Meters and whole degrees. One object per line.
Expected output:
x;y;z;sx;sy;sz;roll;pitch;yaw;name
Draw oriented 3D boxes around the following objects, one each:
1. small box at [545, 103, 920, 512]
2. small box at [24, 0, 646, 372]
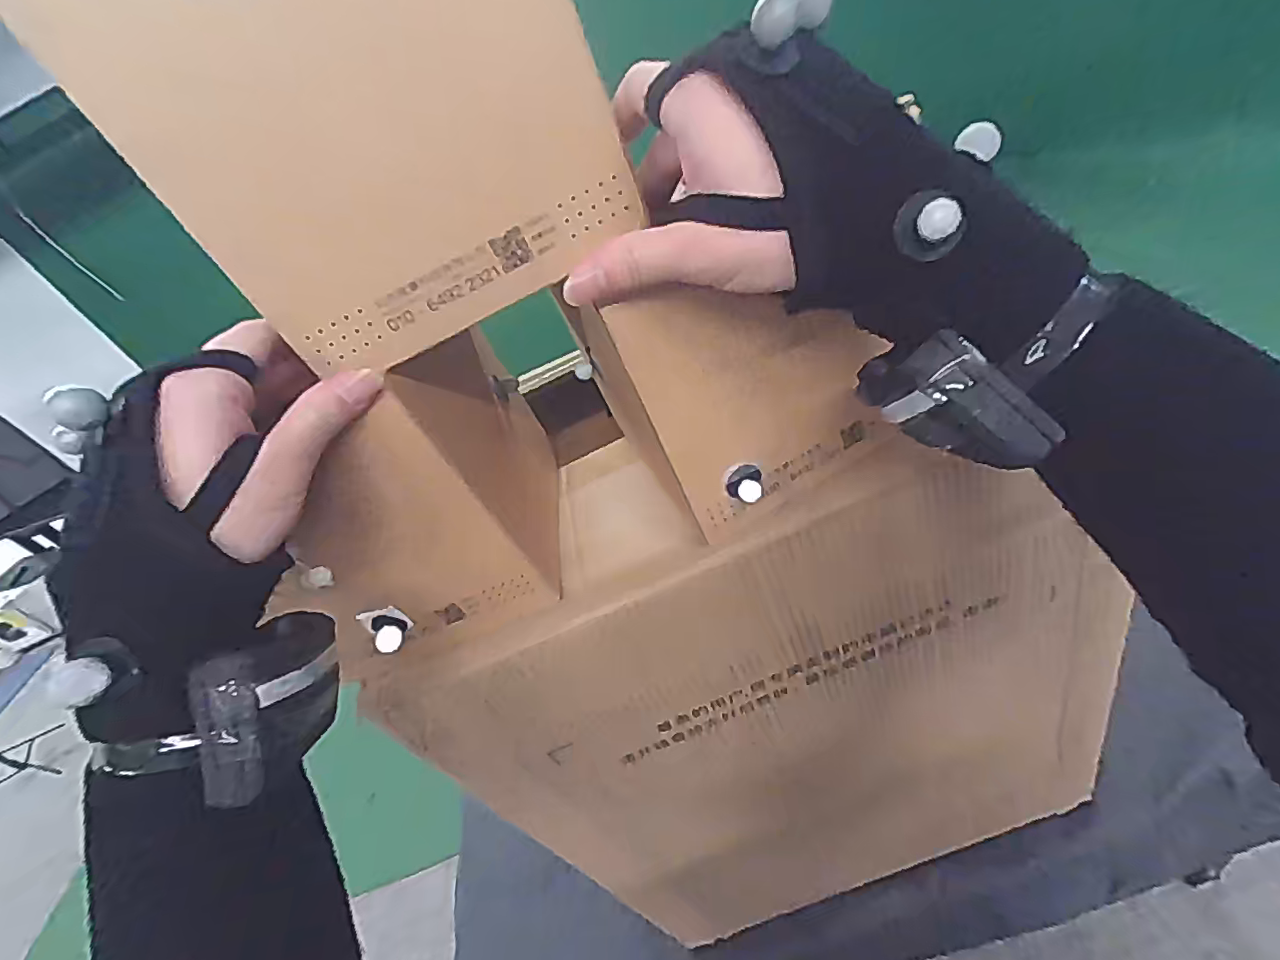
0.050;-0.103;0.346;0.168;0.176;0.179;-30;35;-4;small box
-0.116;-0.178;0.266;0.168;0.176;0.179;-27;35;2;small box
